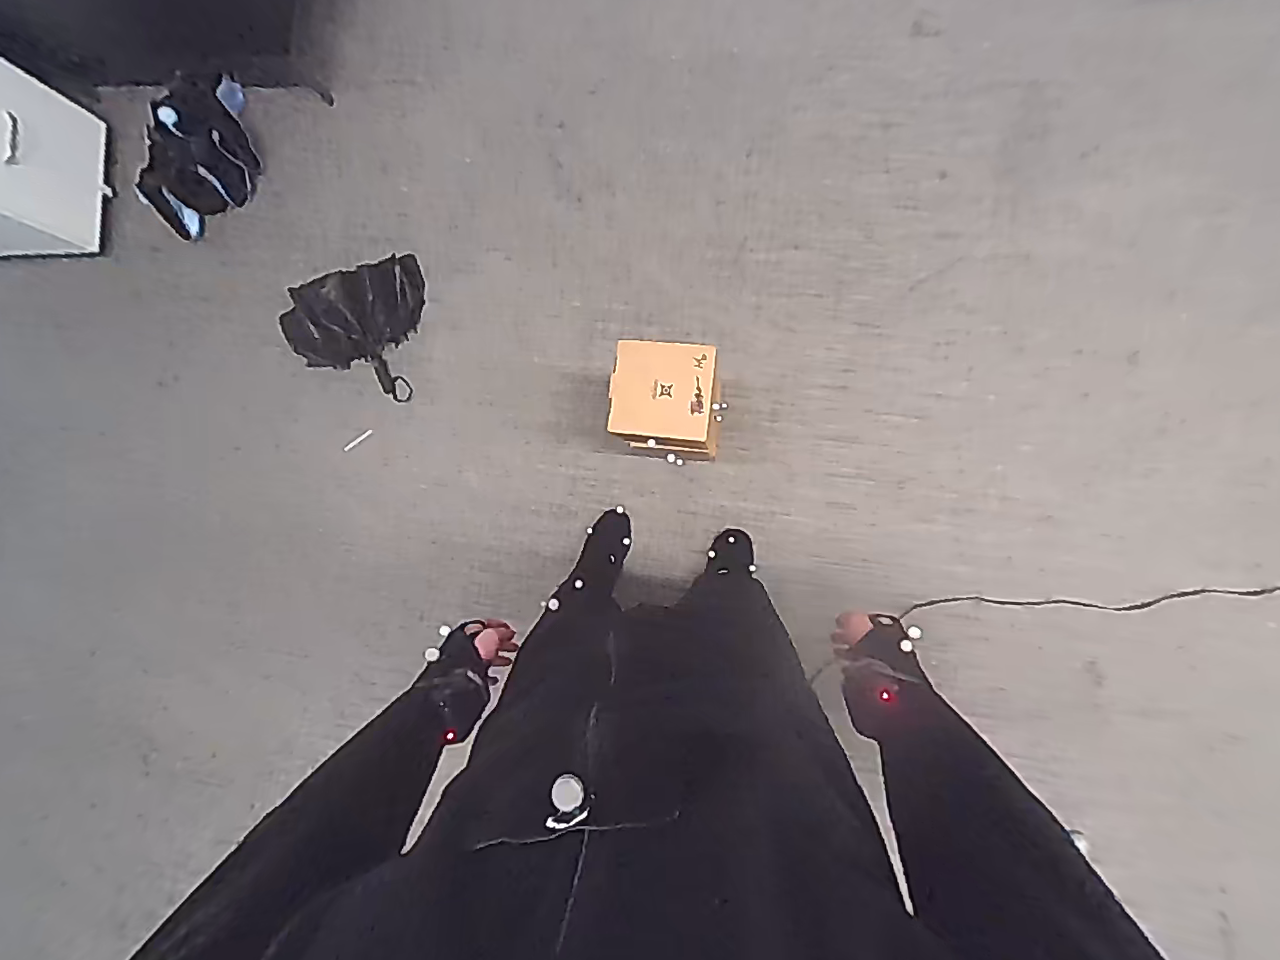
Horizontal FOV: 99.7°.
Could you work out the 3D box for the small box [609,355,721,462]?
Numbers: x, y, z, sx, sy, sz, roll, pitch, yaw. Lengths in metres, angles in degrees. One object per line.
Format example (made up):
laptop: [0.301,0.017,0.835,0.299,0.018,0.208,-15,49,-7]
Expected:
small box: [0.054,-0.126,1.012,0.179,0.176,0.168,6,88,10]

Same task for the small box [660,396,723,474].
small box: [0.119,-0.109,1.334,0.168,0.176,0.179,3,88,10]

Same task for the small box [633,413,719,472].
small box: [0.084,-0.114,1.172,0.168,0.176,0.179,4,88,10]
